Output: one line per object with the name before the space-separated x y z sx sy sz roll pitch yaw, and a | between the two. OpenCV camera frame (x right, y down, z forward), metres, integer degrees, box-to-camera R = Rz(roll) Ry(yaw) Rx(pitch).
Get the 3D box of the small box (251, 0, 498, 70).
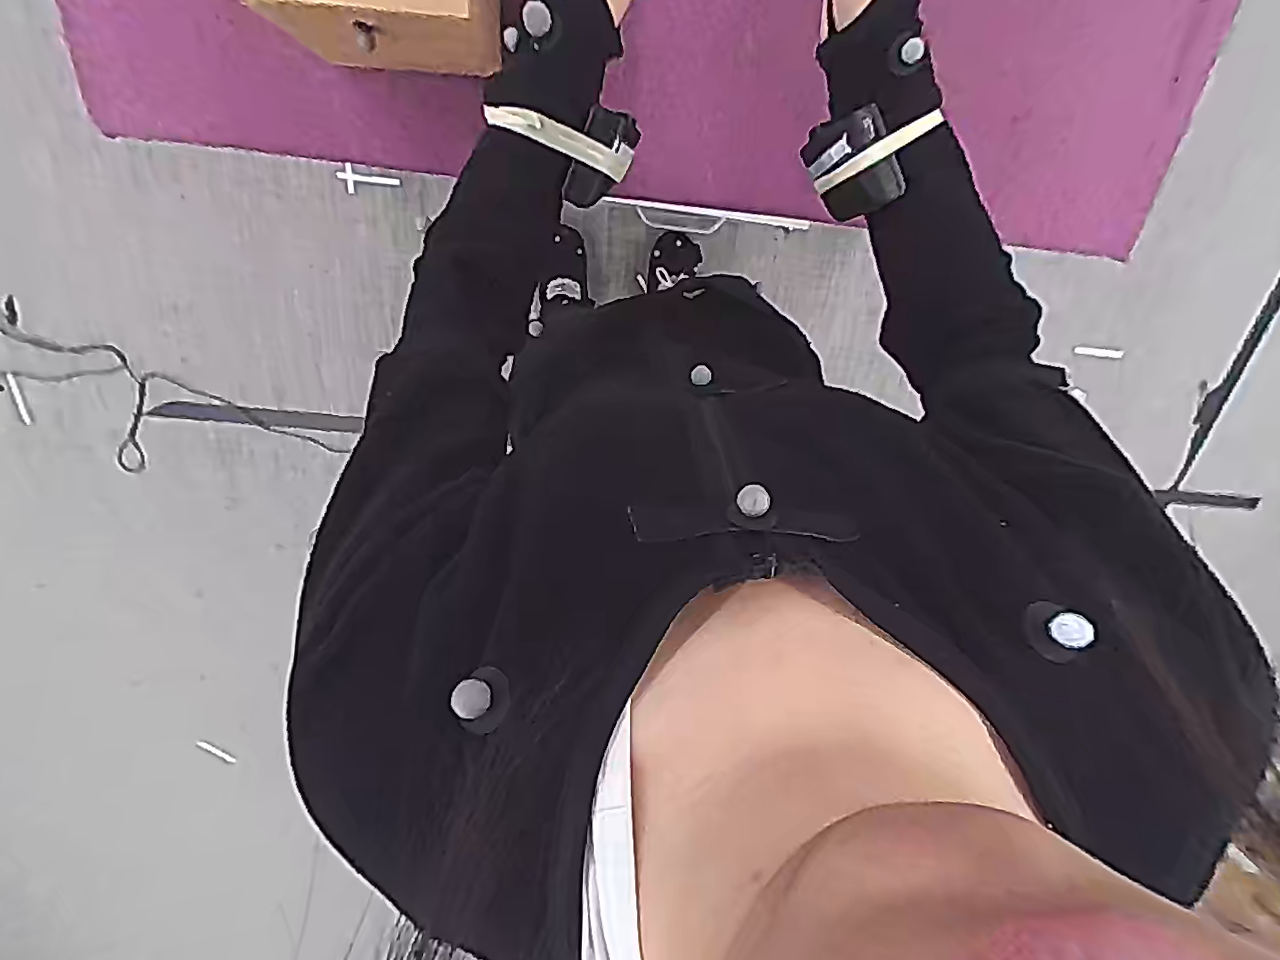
small box | -0.219 -0.472 0.457 0.179 0.176 0.168 1 114 -5
